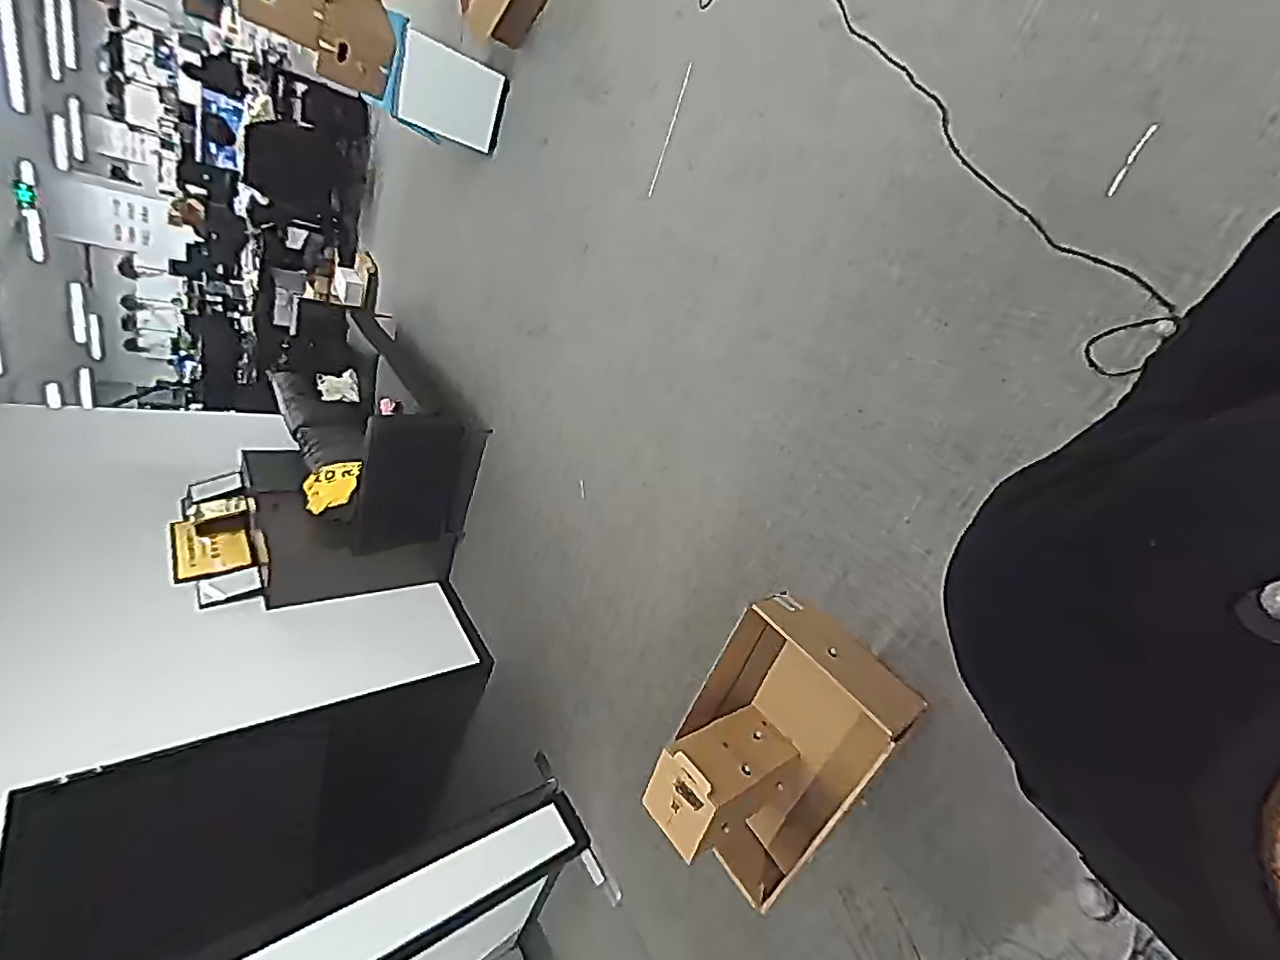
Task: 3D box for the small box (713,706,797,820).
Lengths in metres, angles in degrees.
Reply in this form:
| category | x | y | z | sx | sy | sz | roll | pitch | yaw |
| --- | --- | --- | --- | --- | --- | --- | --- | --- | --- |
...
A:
| category | x | y | z | sx | sy | sz | roll | pitch | yaw |
| --- | --- | --- | --- | --- | --- | --- | --- | --- | --- |
| small box | 0.260 | 0.691 | 1.333 | 0.168 | 0.176 | 0.179 | 38 | 115 | 41 |

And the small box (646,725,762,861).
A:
| category | x | y | z | sx | sy | sz | roll | pitch | yaw |
| --- | --- | --- | --- | --- | --- | --- | --- | --- | --- |
| small box | 0.147 | 0.689 | 1.213 | 0.168 | 0.176 | 0.179 | 36 | 116 | 41 |
